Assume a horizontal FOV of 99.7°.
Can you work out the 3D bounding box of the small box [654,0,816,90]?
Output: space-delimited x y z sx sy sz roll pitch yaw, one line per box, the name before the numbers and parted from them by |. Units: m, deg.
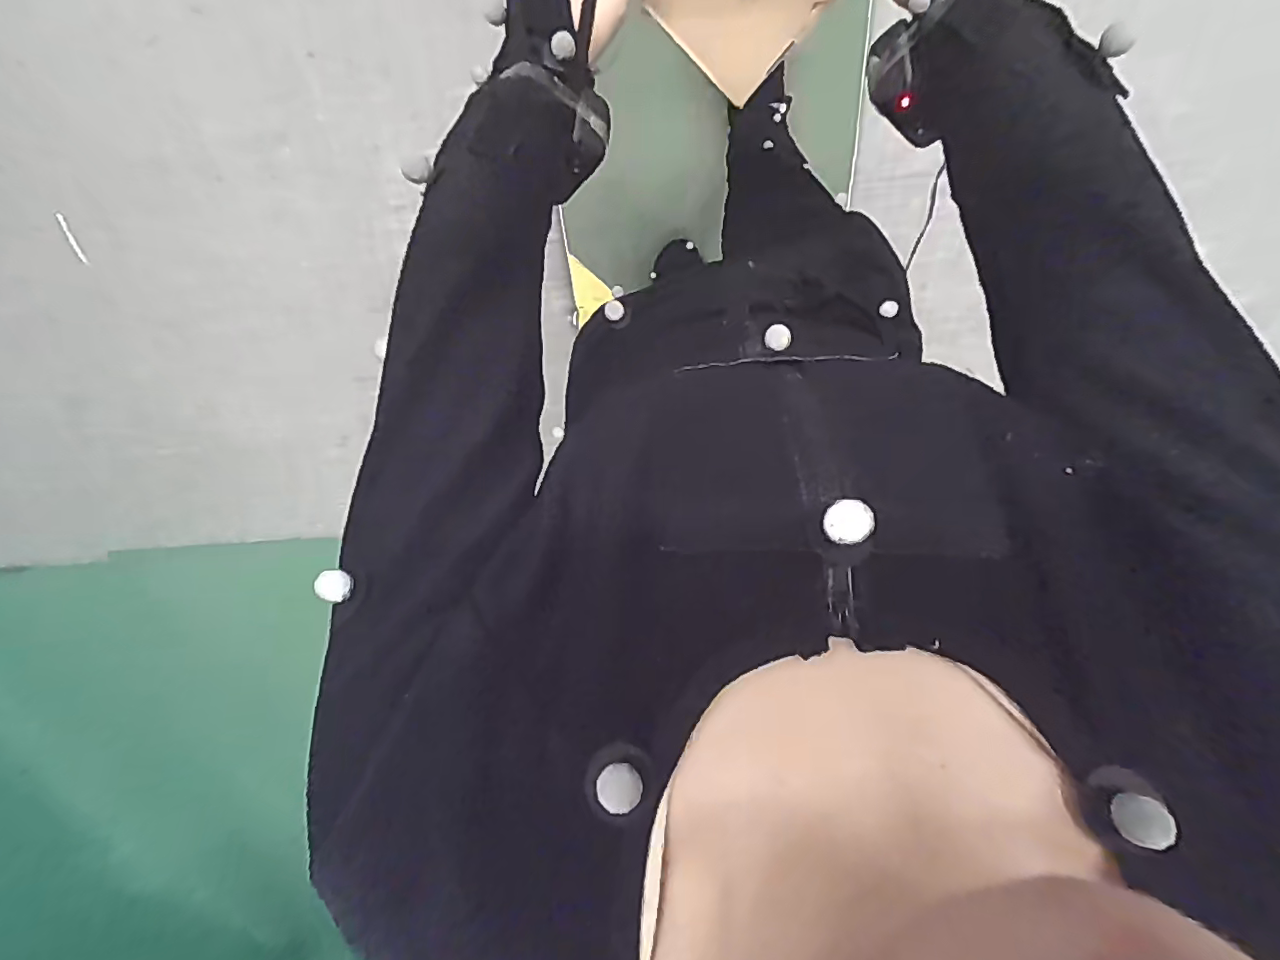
small box | 0.067 -0.466 0.421 0.179 0.176 0.168 26 132 -32
